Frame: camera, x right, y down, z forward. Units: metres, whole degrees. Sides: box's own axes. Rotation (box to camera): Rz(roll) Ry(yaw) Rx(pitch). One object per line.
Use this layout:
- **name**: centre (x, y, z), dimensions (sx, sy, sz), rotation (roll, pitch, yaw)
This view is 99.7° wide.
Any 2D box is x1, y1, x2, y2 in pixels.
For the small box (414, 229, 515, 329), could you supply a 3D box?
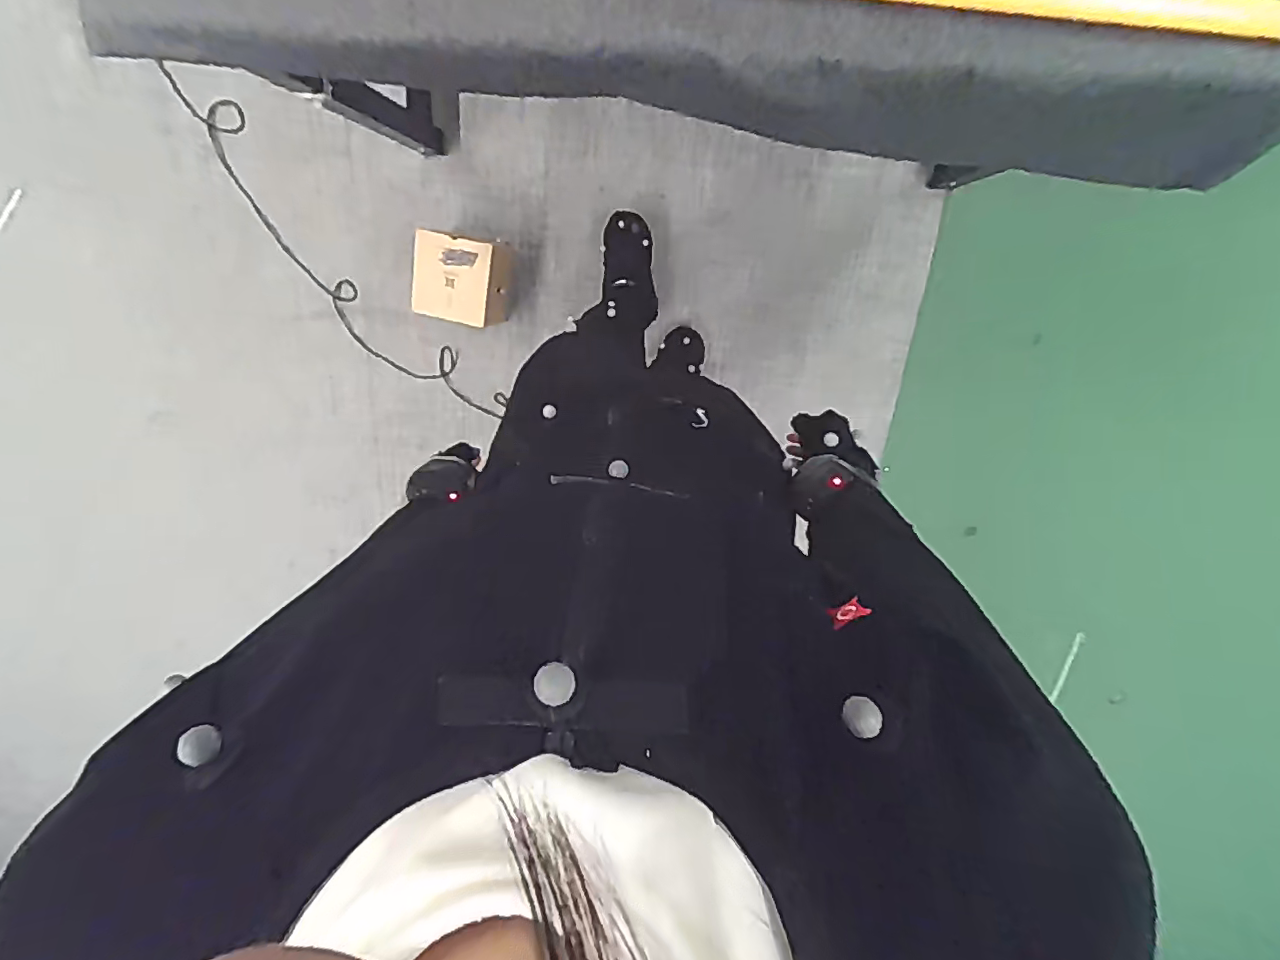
- **small box**: centre (-0.395, -0.457, 1.236), dimensions (0.168, 0.176, 0.179), rotation (13, 111, 0)
